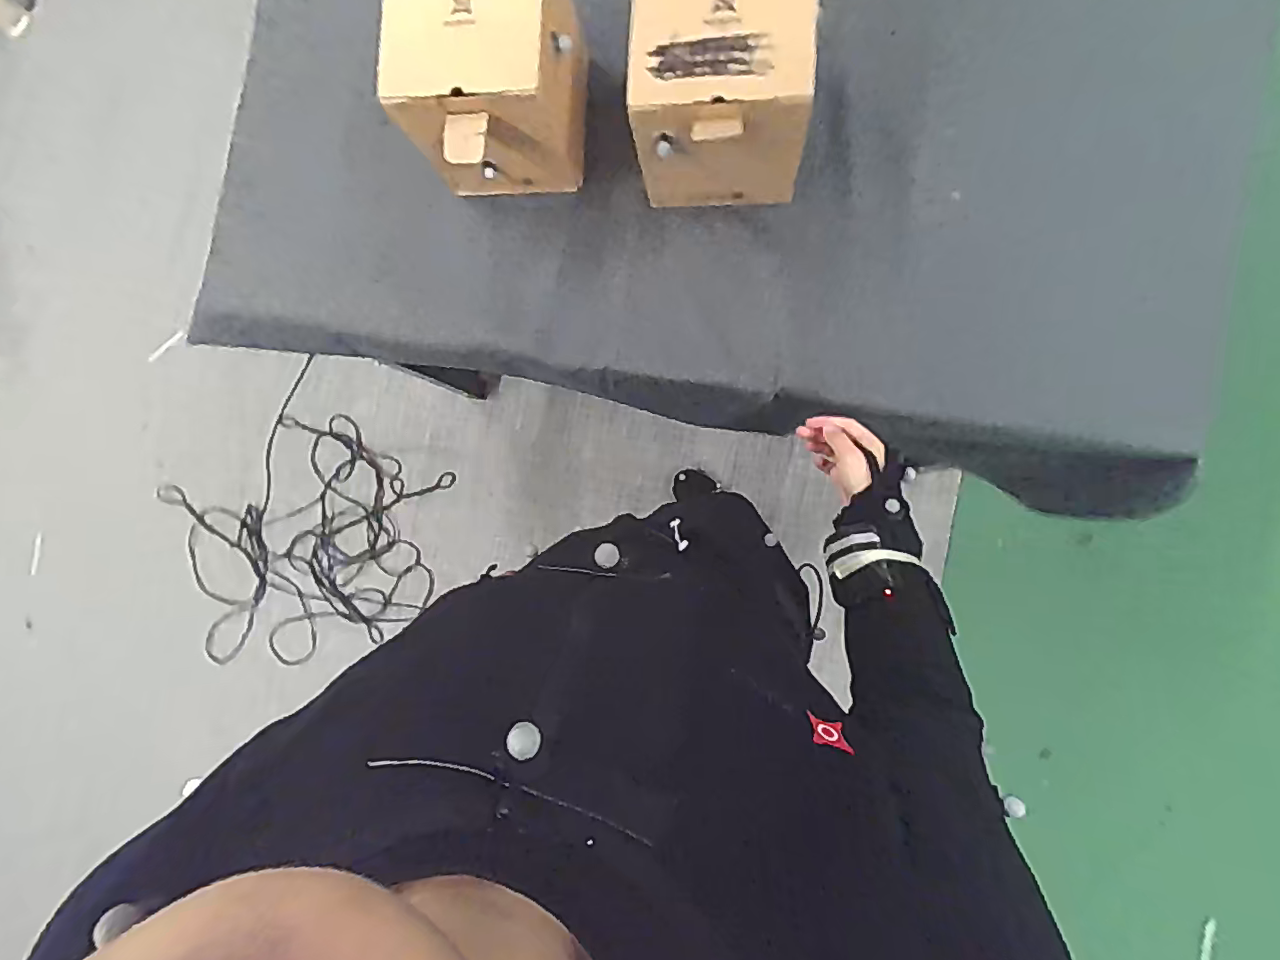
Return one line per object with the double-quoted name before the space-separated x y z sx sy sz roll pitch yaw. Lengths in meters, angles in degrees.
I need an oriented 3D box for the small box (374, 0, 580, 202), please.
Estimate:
"small box" -0.167 -0.441 0.602 0.168 0.176 0.179 1 88 8
